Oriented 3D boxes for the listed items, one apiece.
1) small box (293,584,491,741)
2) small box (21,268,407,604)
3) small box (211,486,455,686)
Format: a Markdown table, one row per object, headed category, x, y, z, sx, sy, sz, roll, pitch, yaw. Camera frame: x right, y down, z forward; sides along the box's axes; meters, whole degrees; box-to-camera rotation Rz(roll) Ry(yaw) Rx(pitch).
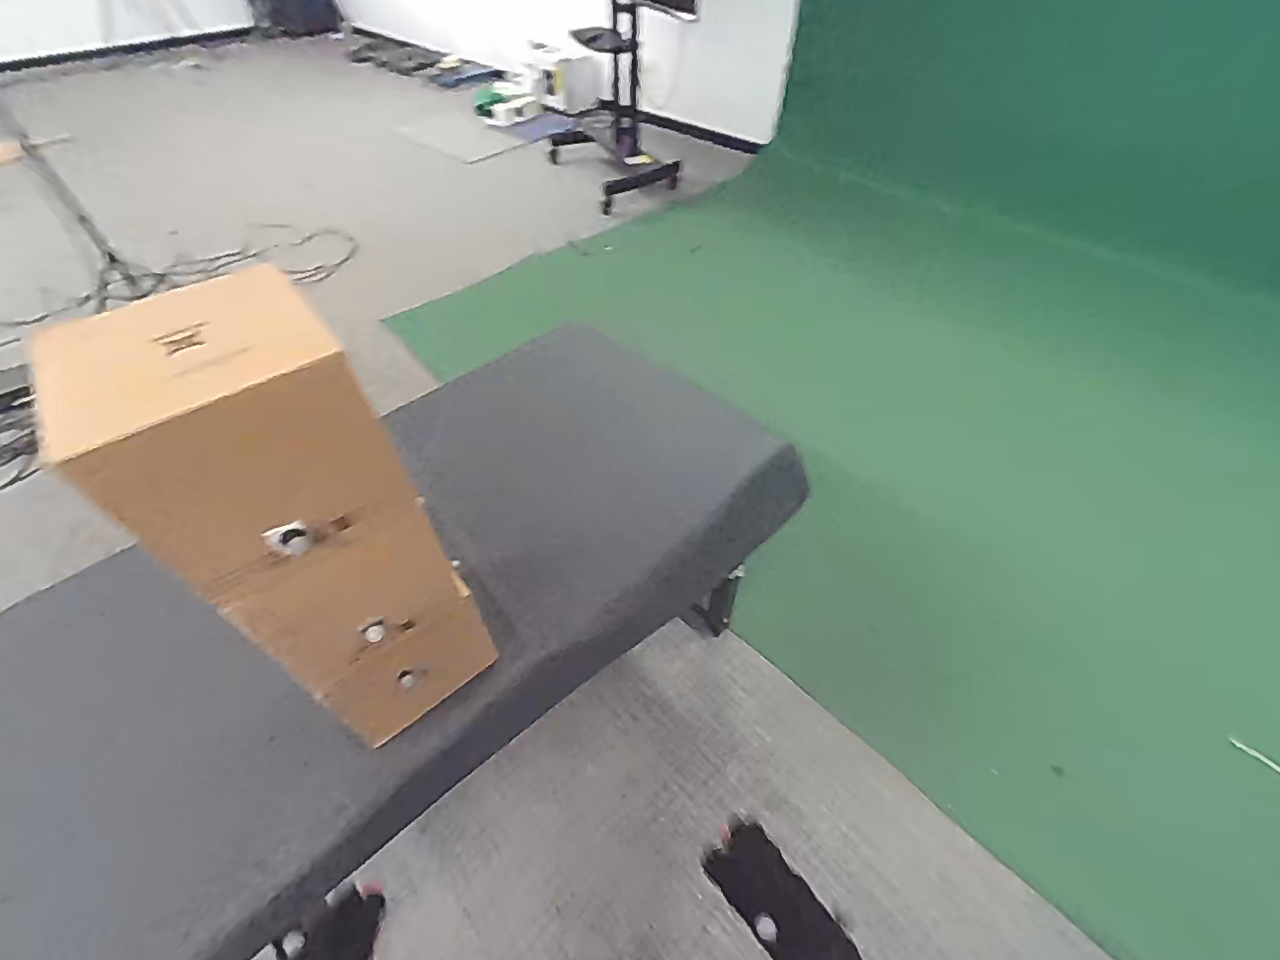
| category | x | y | z | sx | sy | sz | roll | pitch | yaw |
| --- | --- | --- | --- | --- | --- | --- | --- | --- | --- |
| small box | -0.314 | 0.185 | 0.671 | 0.179 | 0.176 | 0.168 | -34 | 55 | -26 |
| small box | -0.320 | -0.036 | 0.432 | 0.168 | 0.176 | 0.179 | -34 | 56 | -24 |
| small box | -0.319 | 0.071 | 0.553 | 0.168 | 0.176 | 0.179 | -34 | 53 | -27 |
